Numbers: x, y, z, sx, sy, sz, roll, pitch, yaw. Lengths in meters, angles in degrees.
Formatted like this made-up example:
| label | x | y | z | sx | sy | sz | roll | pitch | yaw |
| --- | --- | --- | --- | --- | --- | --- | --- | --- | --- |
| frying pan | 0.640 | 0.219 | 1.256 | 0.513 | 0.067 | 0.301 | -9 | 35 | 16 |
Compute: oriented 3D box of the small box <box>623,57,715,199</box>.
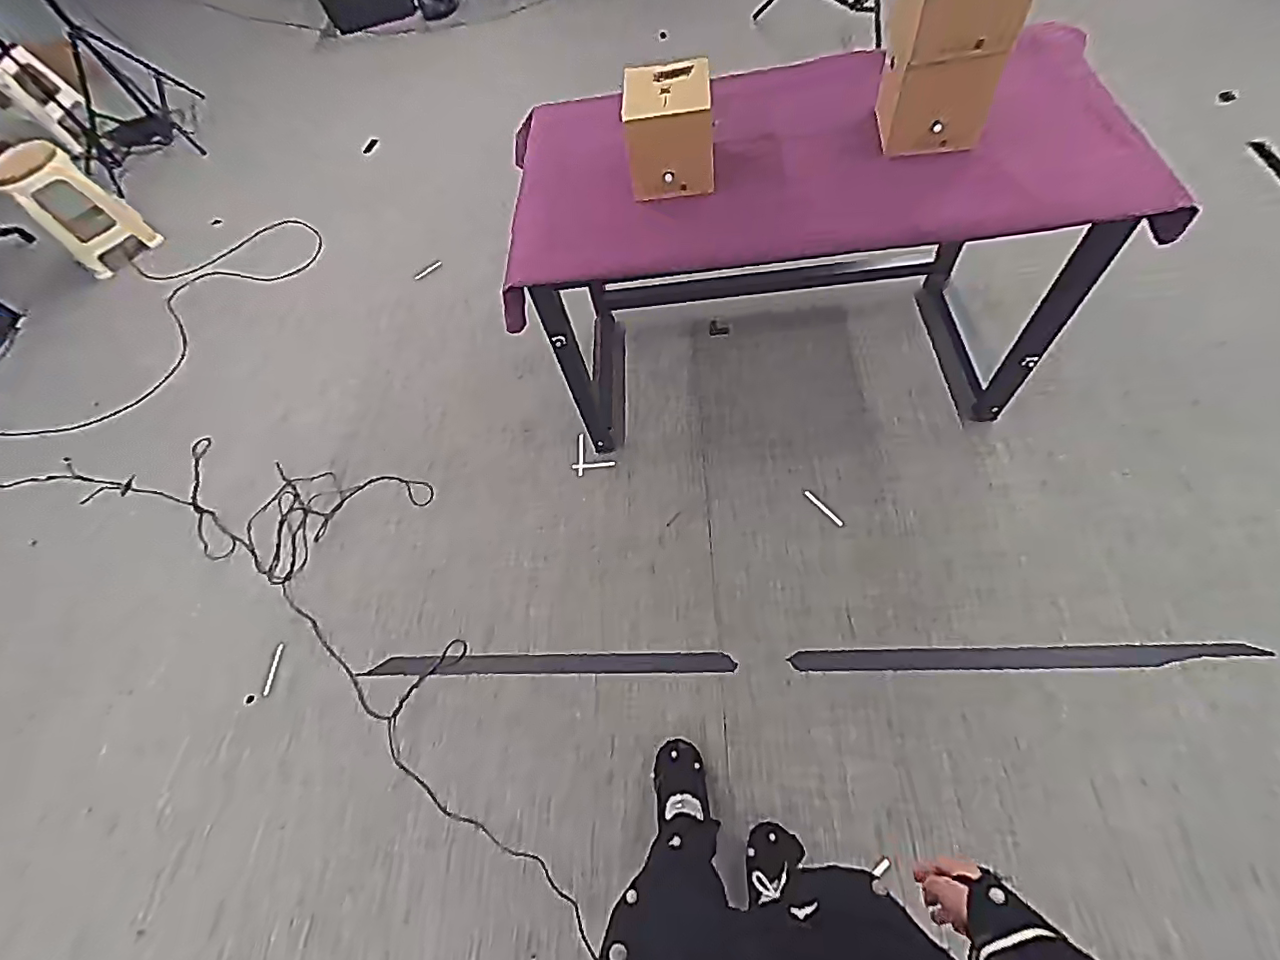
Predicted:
| label | x | y | z | sx | sy | sz | roll | pitch | yaw |
| --- | --- | --- | --- | --- | --- | --- | --- | --- | --- |
| small box | 0.063 | -0.699 | 1.083 | 0.168 | 0.176 | 0.179 | -3 | 63 | 9 |

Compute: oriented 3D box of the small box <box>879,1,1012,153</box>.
| label | x | y | z | sx | sy | sz | roll | pitch | yaw |
| --- | --- | --- | --- | --- | --- | --- | --- | --- | --- |
| small box | 0.564 | -0.757 | 1.026 | 0.168 | 0.176 | 0.179 | 1 | 63 | 11 |
